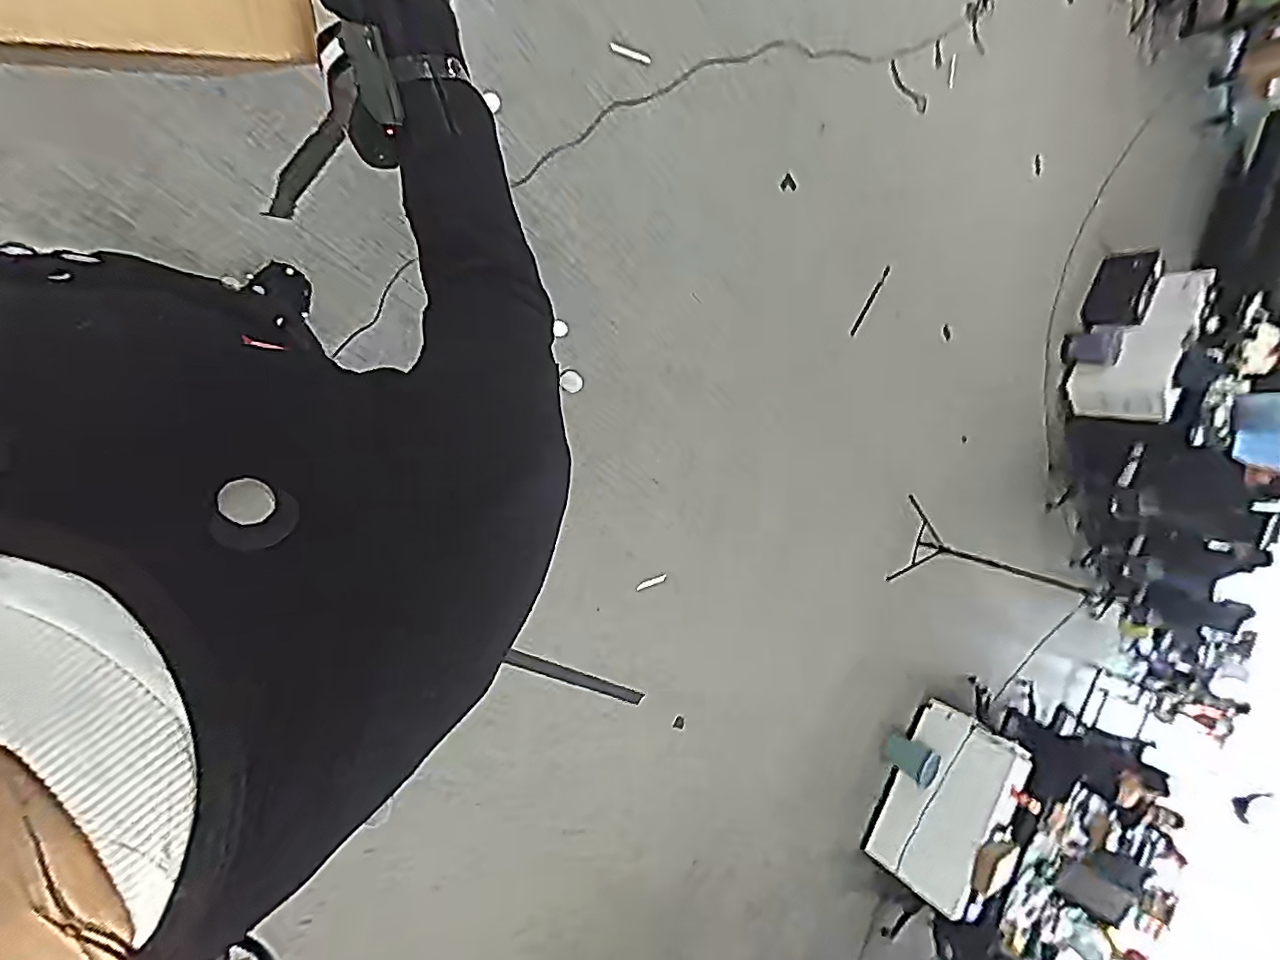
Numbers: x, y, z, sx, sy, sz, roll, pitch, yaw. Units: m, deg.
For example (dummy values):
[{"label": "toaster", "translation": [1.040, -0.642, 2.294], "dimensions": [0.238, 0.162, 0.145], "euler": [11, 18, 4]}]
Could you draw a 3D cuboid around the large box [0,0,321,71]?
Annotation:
[{"label": "large box", "translation": [-0.461, -0.413, 0.272], "dimensions": [0.408, 0.320, 0.320], "euler": [-24, 133, -34]}]
